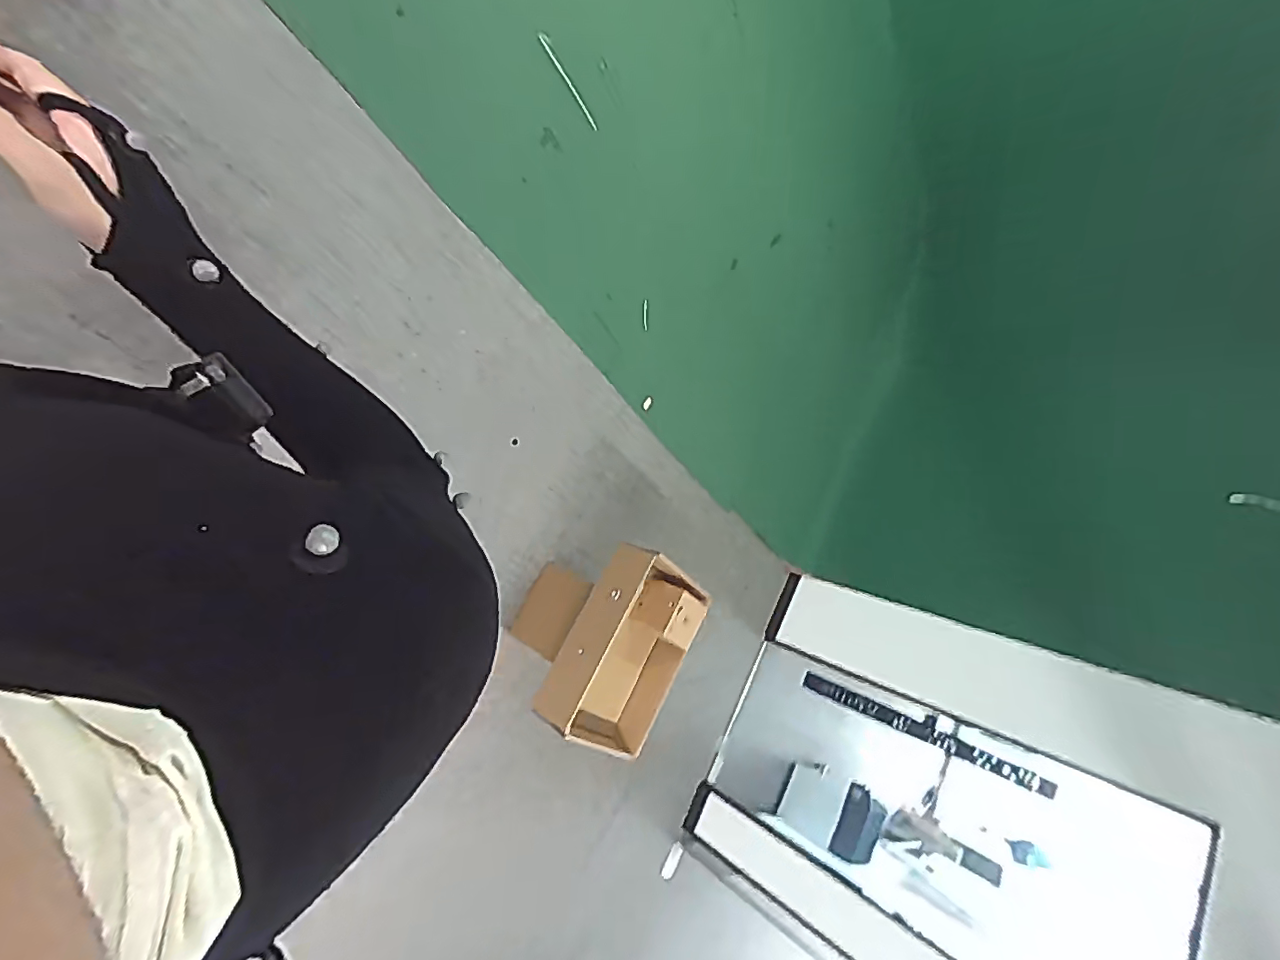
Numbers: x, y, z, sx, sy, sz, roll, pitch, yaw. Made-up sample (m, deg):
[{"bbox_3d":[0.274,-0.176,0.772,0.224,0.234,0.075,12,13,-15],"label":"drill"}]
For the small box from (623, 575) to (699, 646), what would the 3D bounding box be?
[{"bbox_3d":[0.075,0.457,1.915,0.179,0.176,0.168,47,66,-43],"label":"small box"}]
